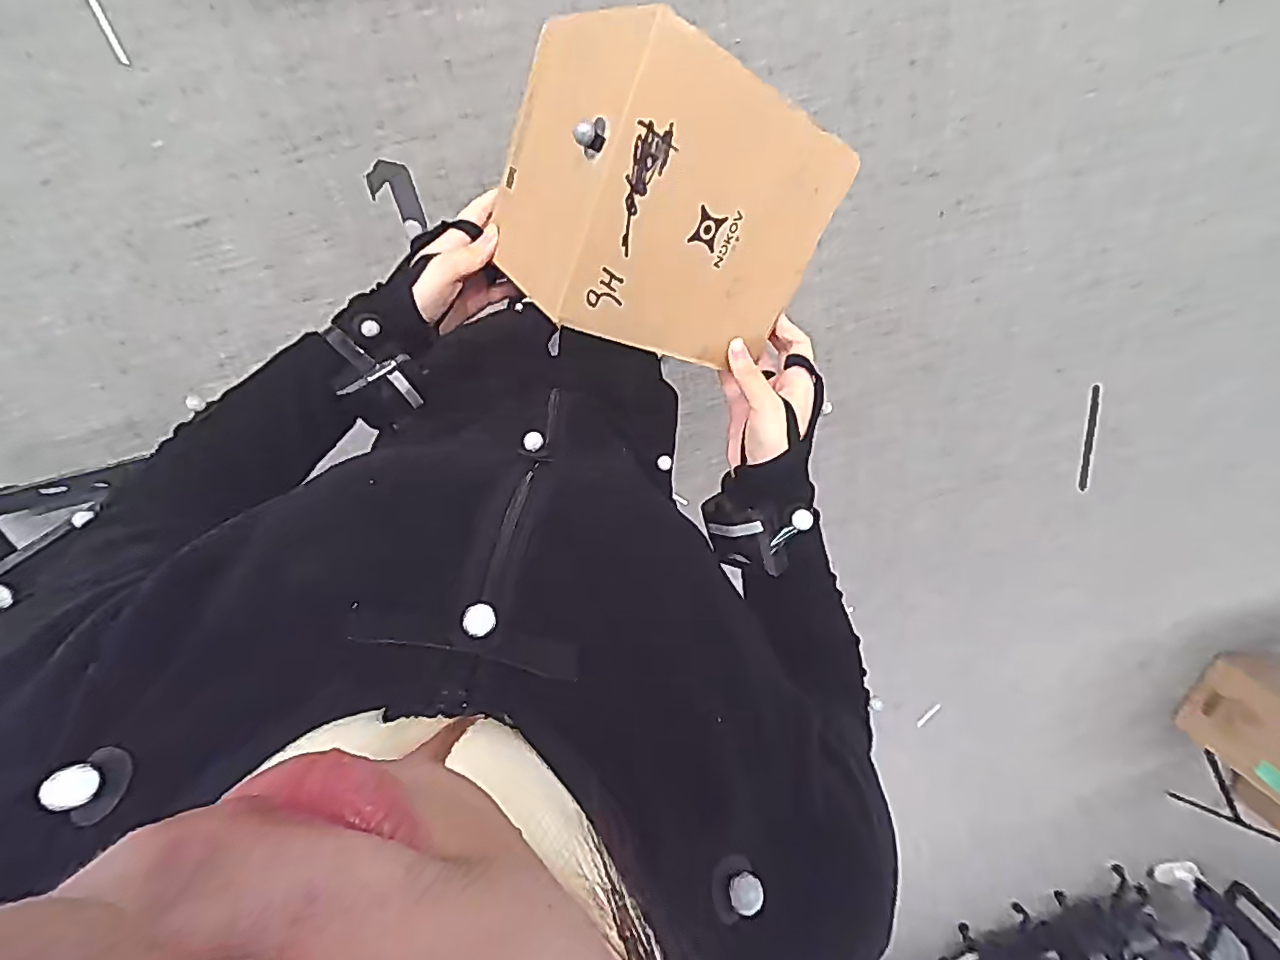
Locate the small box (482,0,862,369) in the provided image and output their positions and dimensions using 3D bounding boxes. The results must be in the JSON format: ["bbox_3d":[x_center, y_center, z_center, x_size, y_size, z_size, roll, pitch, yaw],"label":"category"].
[{"bbox_3d":[0.010,-0.203,0.389,0.179,0.176,0.168,6,120,-38],"label":"small box"}]
